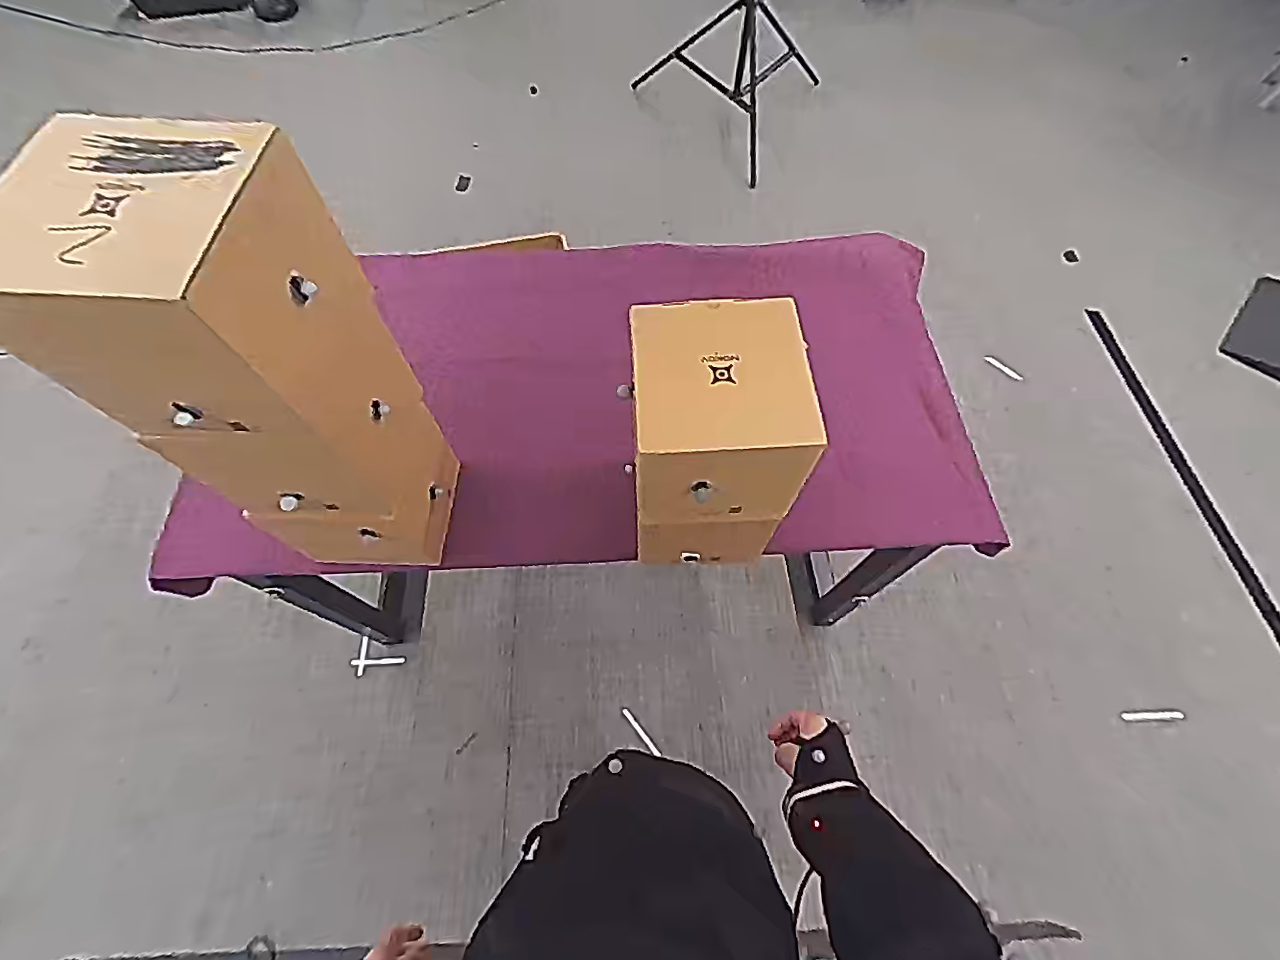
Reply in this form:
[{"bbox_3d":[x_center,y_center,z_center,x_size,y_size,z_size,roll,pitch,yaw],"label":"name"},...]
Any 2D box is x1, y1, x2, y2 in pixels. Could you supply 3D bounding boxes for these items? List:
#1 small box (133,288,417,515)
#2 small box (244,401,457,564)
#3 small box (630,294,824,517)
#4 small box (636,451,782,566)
[{"bbox_3d":[-0.355,-0.076,0.573,0.168,0.176,0.179,1,64,0],"label":"small box"},{"bbox_3d":[-0.359,0.007,0.715,0.179,0.176,0.168,1,63,1],"label":"small box"},{"bbox_3d":[0.078,-0.067,0.573,0.168,0.176,0.179,-3,62,0],"label":"small box"},{"bbox_3d":[0.078,0.004,0.719,0.168,0.176,0.179,-3,64,0],"label":"small box"}]
